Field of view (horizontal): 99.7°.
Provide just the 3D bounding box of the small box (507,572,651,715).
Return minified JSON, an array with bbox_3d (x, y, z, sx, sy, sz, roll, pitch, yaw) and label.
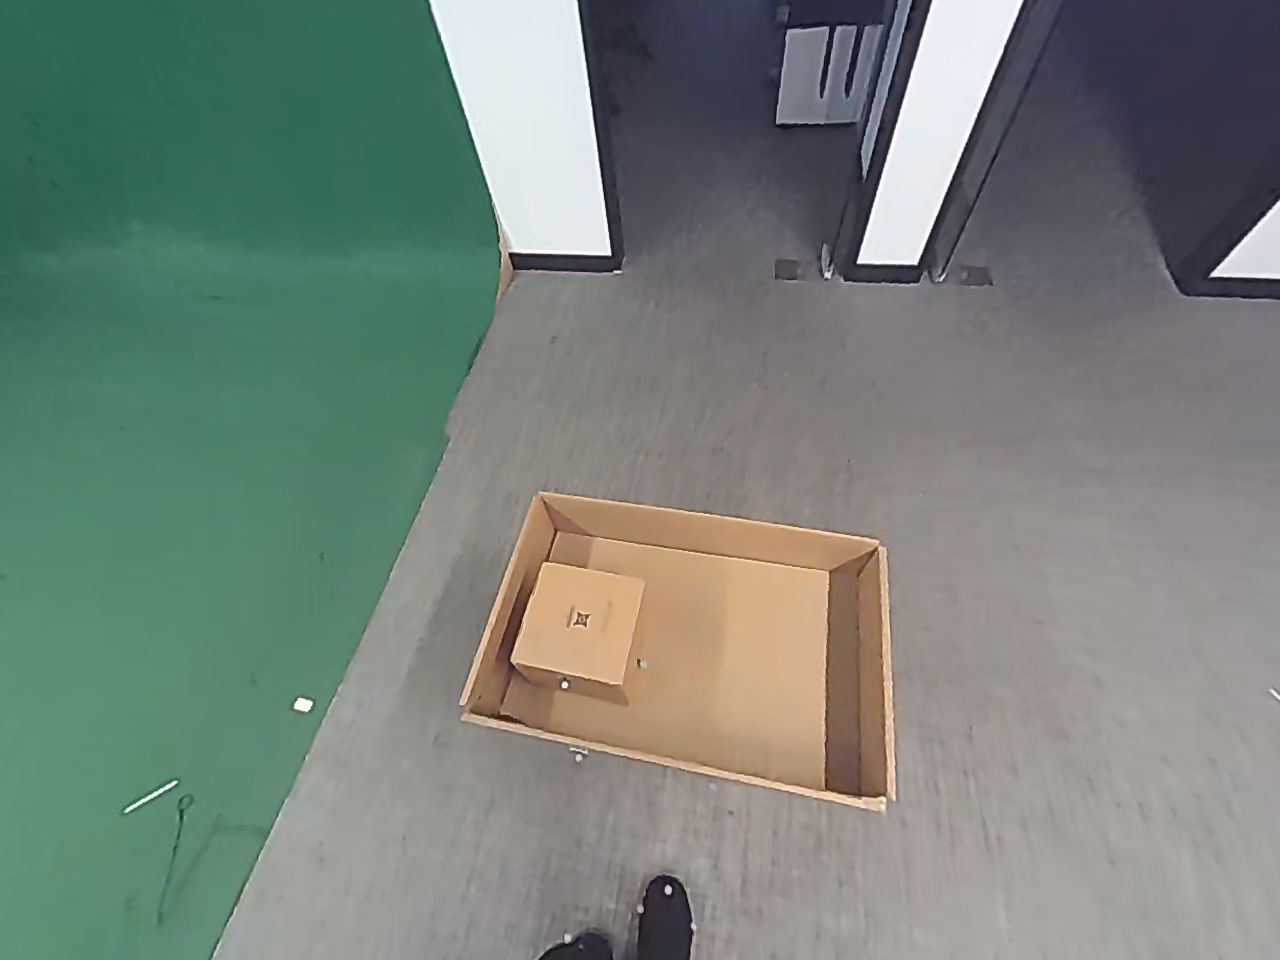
[{"bbox_3d":[-0.088,0.273,0.889,0.179,0.176,0.168,8,58,12],"label":"small box"}]
